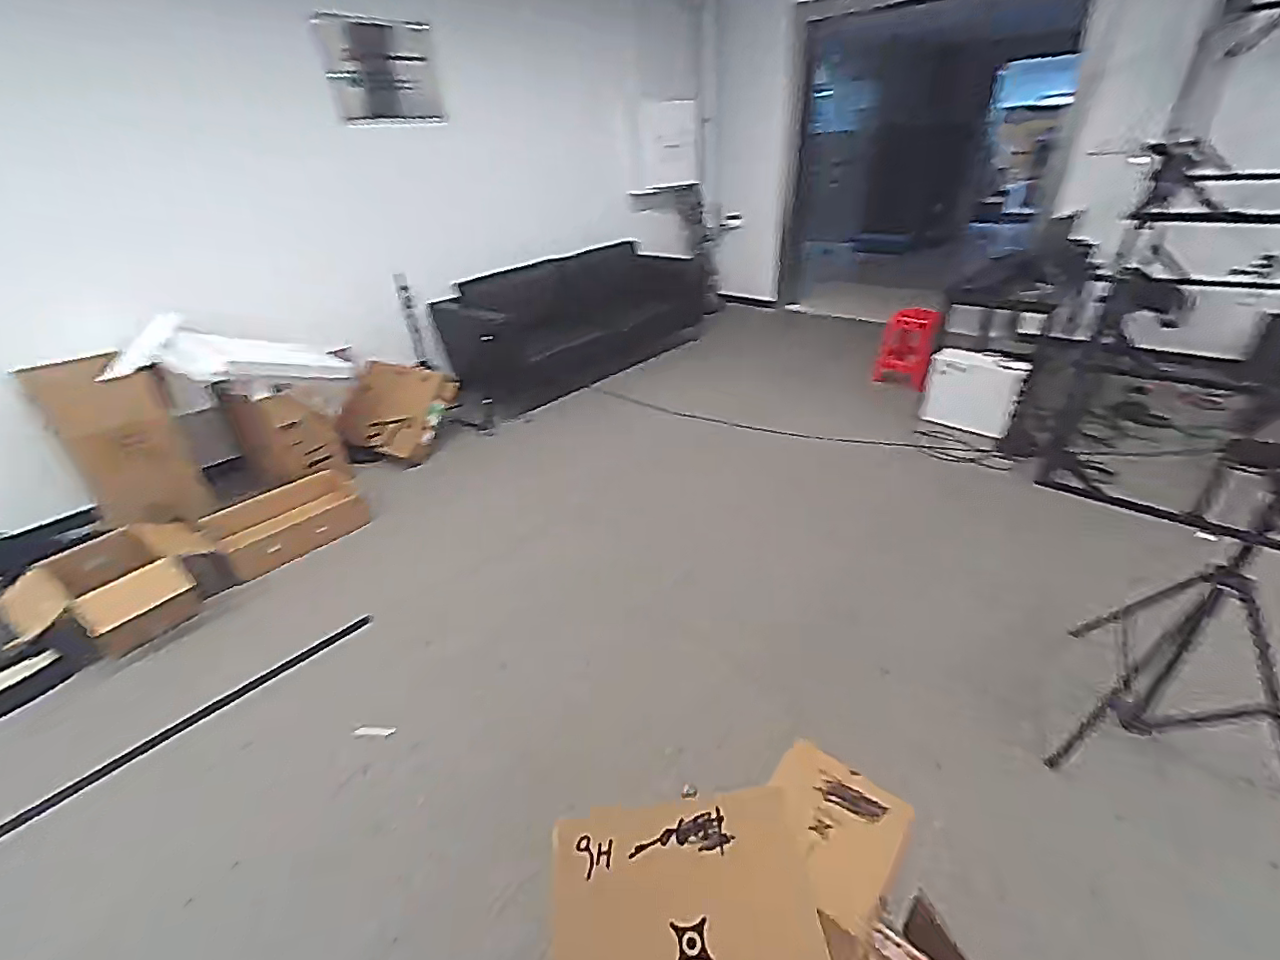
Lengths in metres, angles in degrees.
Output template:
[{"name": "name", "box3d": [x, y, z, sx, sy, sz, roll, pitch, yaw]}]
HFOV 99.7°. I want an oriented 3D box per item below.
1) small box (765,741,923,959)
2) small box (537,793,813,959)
[{"name": "small box", "box3d": [0.245, 0.500, 0.715, 0.168, 0.176, 0.179, 22, 42, 39]}, {"name": "small box", "box3d": [0.022, 0.346, 0.375, 0.168, 0.176, 0.179, -6, 46, -6]}]
